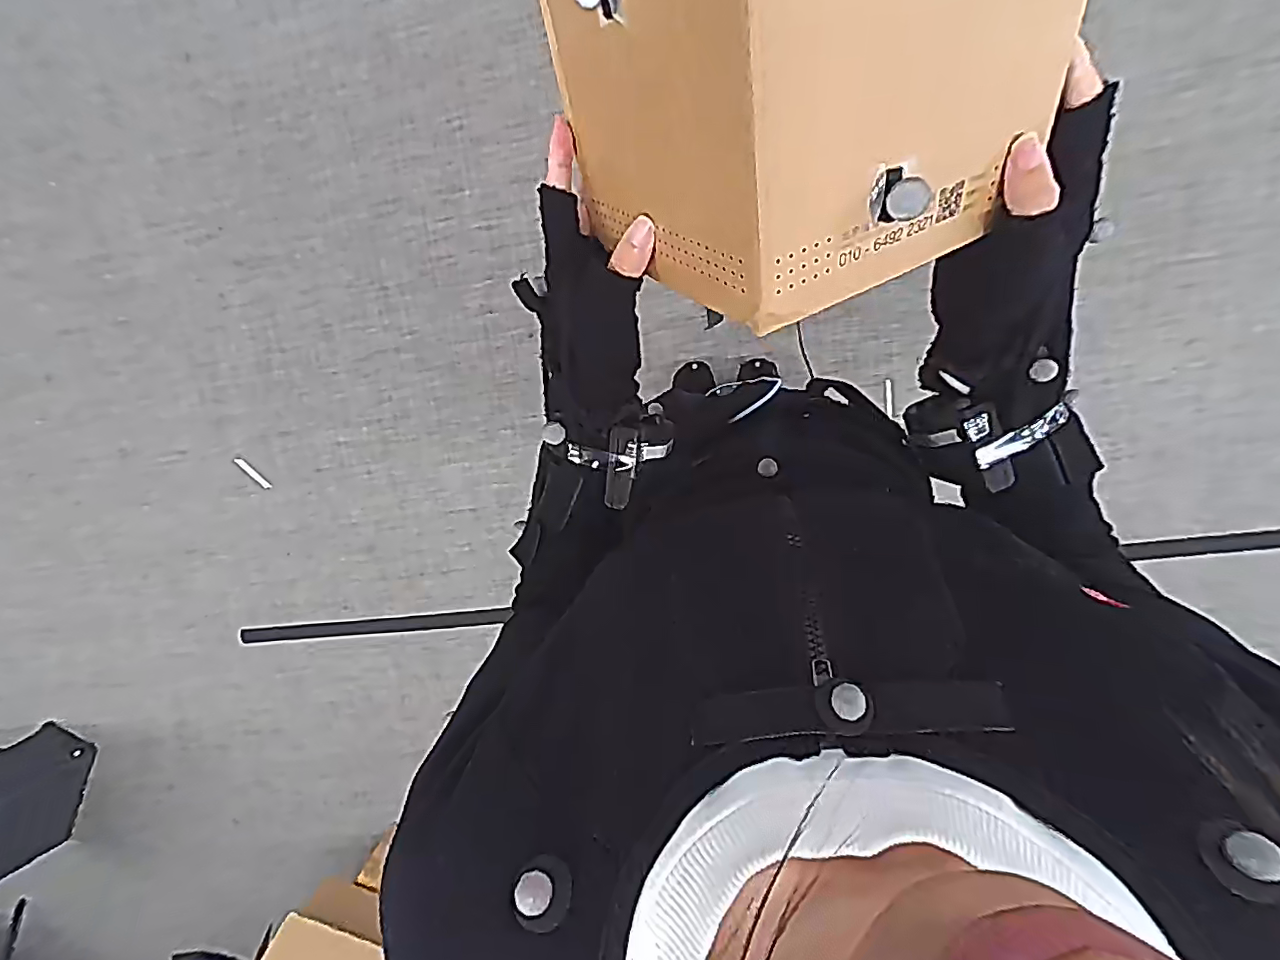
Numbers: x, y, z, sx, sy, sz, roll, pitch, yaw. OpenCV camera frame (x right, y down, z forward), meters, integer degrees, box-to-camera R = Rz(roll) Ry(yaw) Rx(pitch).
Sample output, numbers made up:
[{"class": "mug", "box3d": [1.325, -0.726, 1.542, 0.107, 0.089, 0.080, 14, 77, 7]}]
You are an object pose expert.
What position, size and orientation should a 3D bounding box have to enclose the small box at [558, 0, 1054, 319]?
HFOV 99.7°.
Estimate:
[{"class": "small box", "box3d": [0.069, -0.204, 0.276, 0.168, 0.179, 0.176, -27, 133, -13]}]
